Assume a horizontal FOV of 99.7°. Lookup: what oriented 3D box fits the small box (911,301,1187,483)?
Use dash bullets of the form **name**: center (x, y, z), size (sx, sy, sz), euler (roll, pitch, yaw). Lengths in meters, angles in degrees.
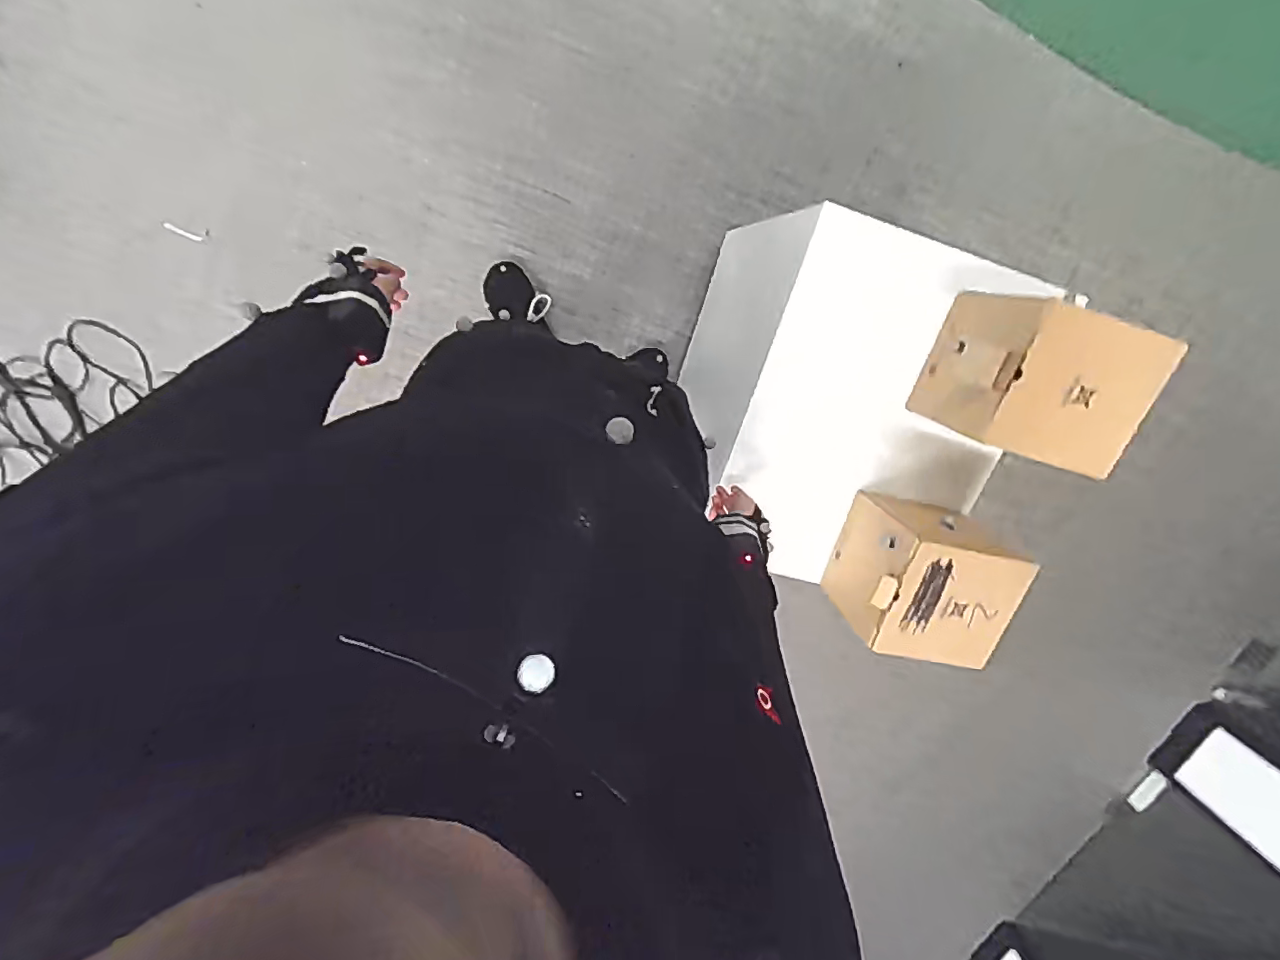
- **small box**: center (0.487, -0.119, 0.677), size (0.179, 0.176, 0.168), euler (15, 110, -8)
